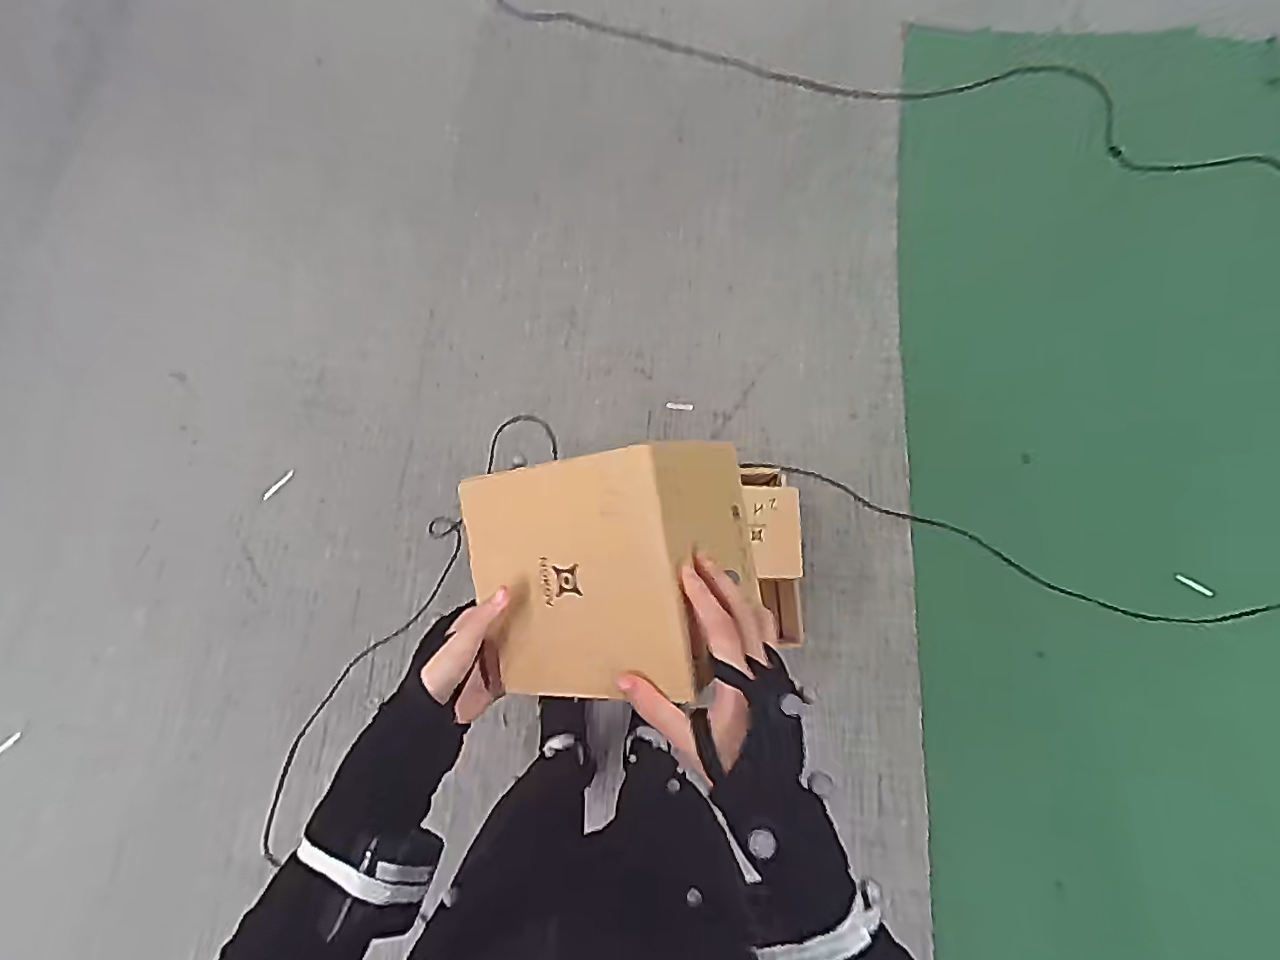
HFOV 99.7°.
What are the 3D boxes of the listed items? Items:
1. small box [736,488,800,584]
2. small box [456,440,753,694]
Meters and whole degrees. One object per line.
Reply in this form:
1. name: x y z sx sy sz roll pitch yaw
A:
1. small box: 0.216 0.118 1.087 0.168 0.176 0.179 2 77 0
2. small box: -0.017 0.062 0.447 0.179 0.176 0.168 -12 86 30
